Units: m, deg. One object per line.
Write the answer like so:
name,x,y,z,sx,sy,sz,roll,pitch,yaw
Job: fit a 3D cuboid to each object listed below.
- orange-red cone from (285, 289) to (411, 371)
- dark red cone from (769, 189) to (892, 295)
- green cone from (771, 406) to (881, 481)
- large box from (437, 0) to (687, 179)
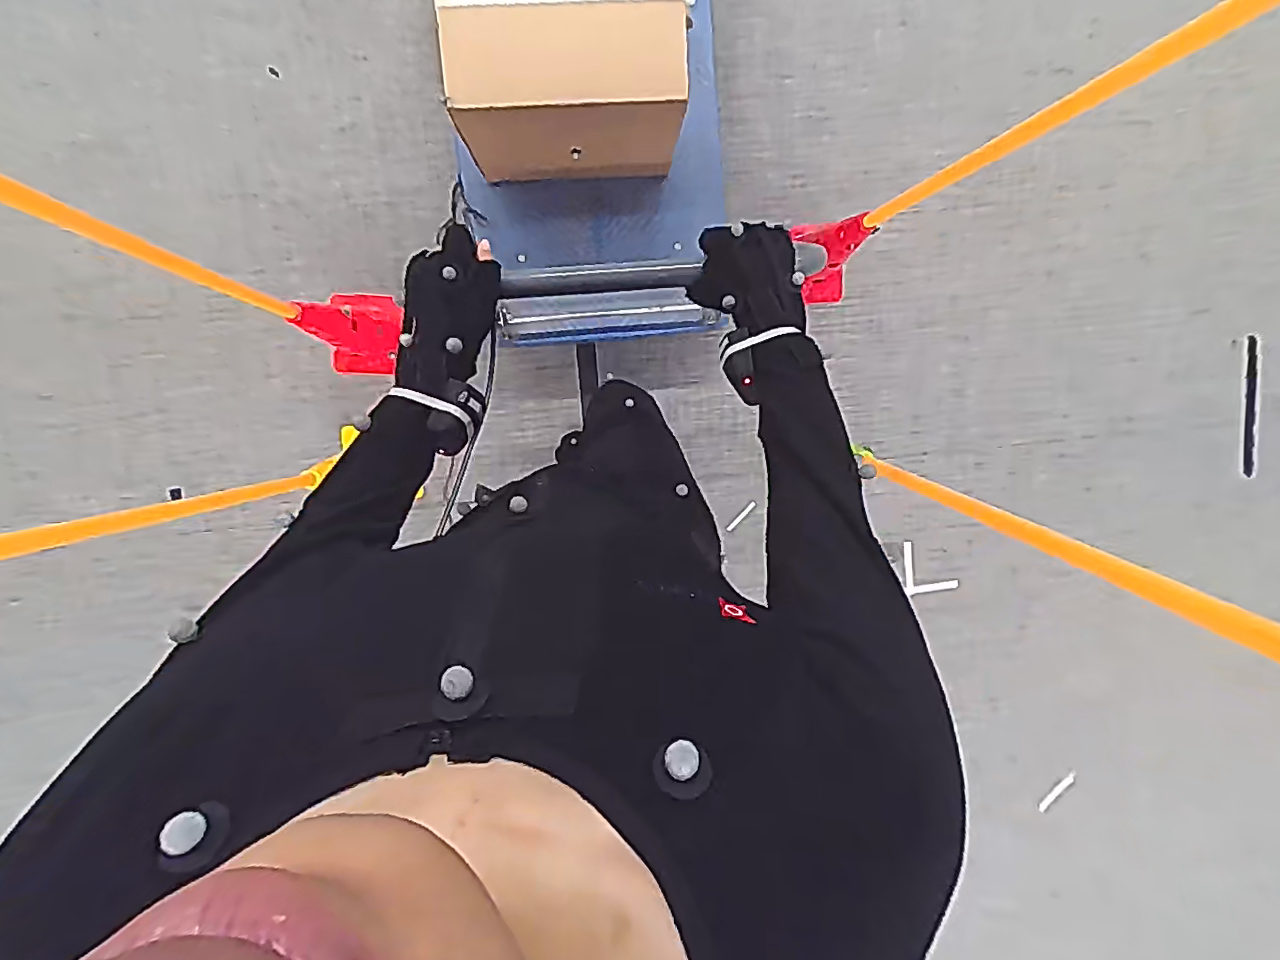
orange-red cone,-0.675,-0.363,1.211,0.198,0.360,0.199,2,96,-4
dark red cone,0.443,-0.553,1.213,0.201,0.394,0.202,-6,99,-4
green cone,0.465,-0.076,1.299,0.202,0.368,0.200,-2,98,-4
large box,-0.134,-0.799,1.023,0.408,0.320,0.320,-4,98,-2
